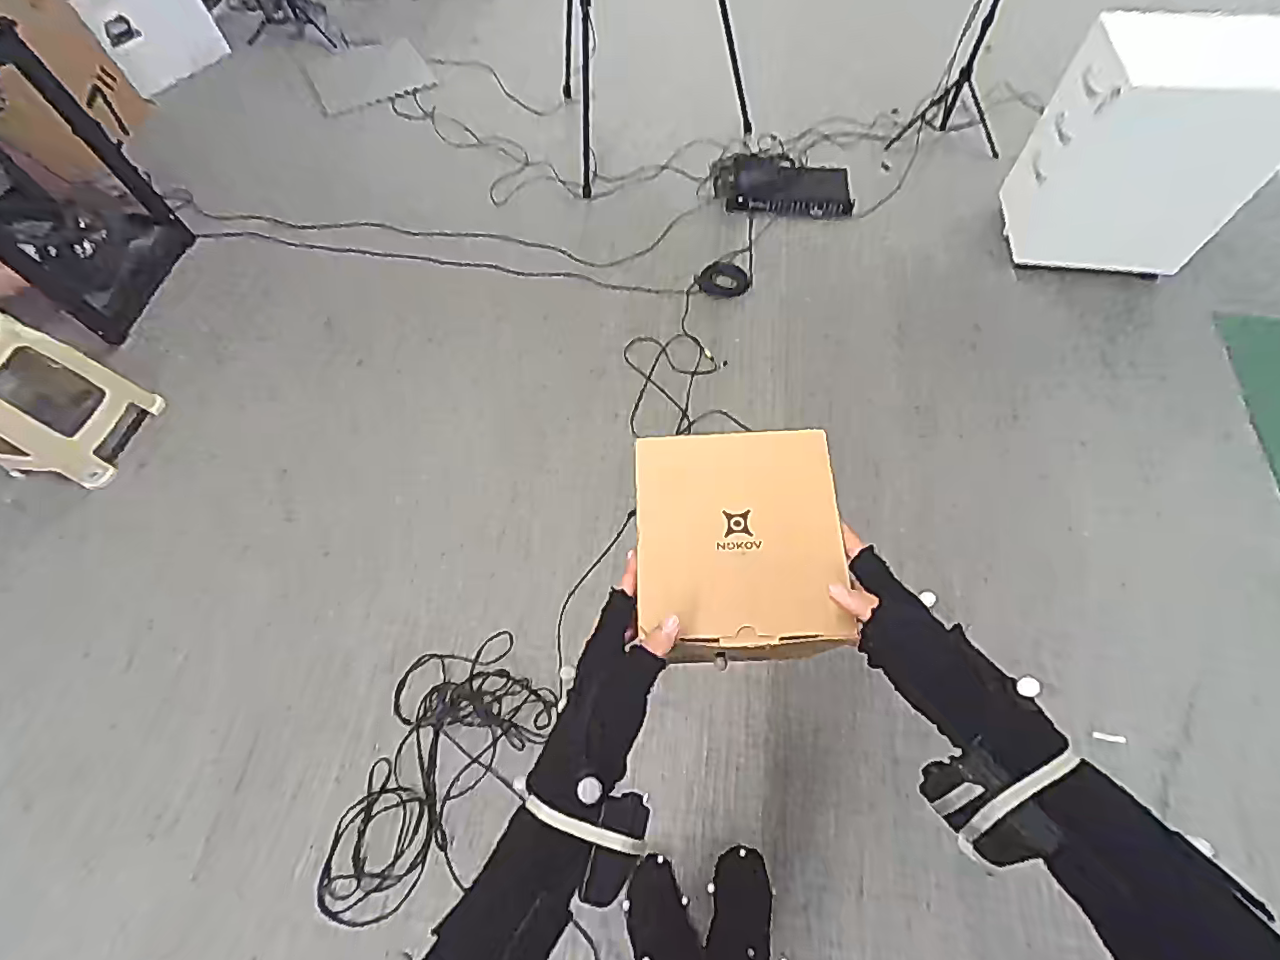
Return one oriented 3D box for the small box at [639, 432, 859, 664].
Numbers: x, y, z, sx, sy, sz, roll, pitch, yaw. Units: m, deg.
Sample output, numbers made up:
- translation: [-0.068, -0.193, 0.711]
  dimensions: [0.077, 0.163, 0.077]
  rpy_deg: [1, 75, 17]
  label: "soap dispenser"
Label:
- translation: [0.084, 0.072, 0.507]
  dimensions: [0.168, 0.176, 0.179]
  rpy_deg: [-3, 67, 3]
  label: "small box"
